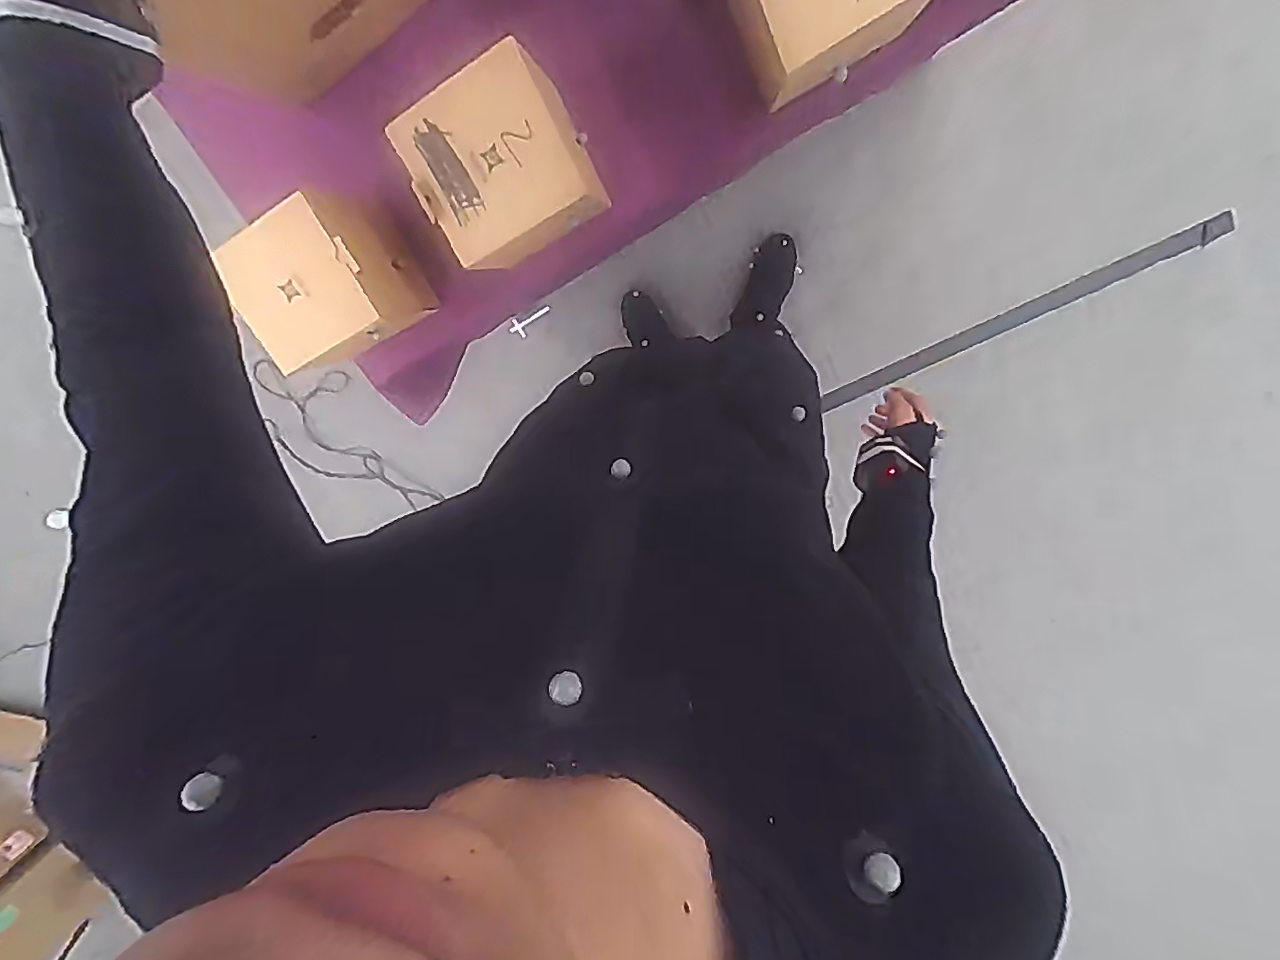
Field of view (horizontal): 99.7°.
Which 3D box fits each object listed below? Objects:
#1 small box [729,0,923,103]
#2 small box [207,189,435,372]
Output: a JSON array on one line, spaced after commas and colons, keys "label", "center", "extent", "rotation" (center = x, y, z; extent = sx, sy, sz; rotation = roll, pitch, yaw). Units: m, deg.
[{"label": "small box", "center": [0.185, -0.538, 0.558], "extent": [0.168, 0.176, 0.179], "rotation": [-23, 108, 17]}, {"label": "small box", "center": [-0.426, -0.272, 0.754], "extent": [0.179, 0.176, 0.168], "rotation": [-24, 108, 15]}]
